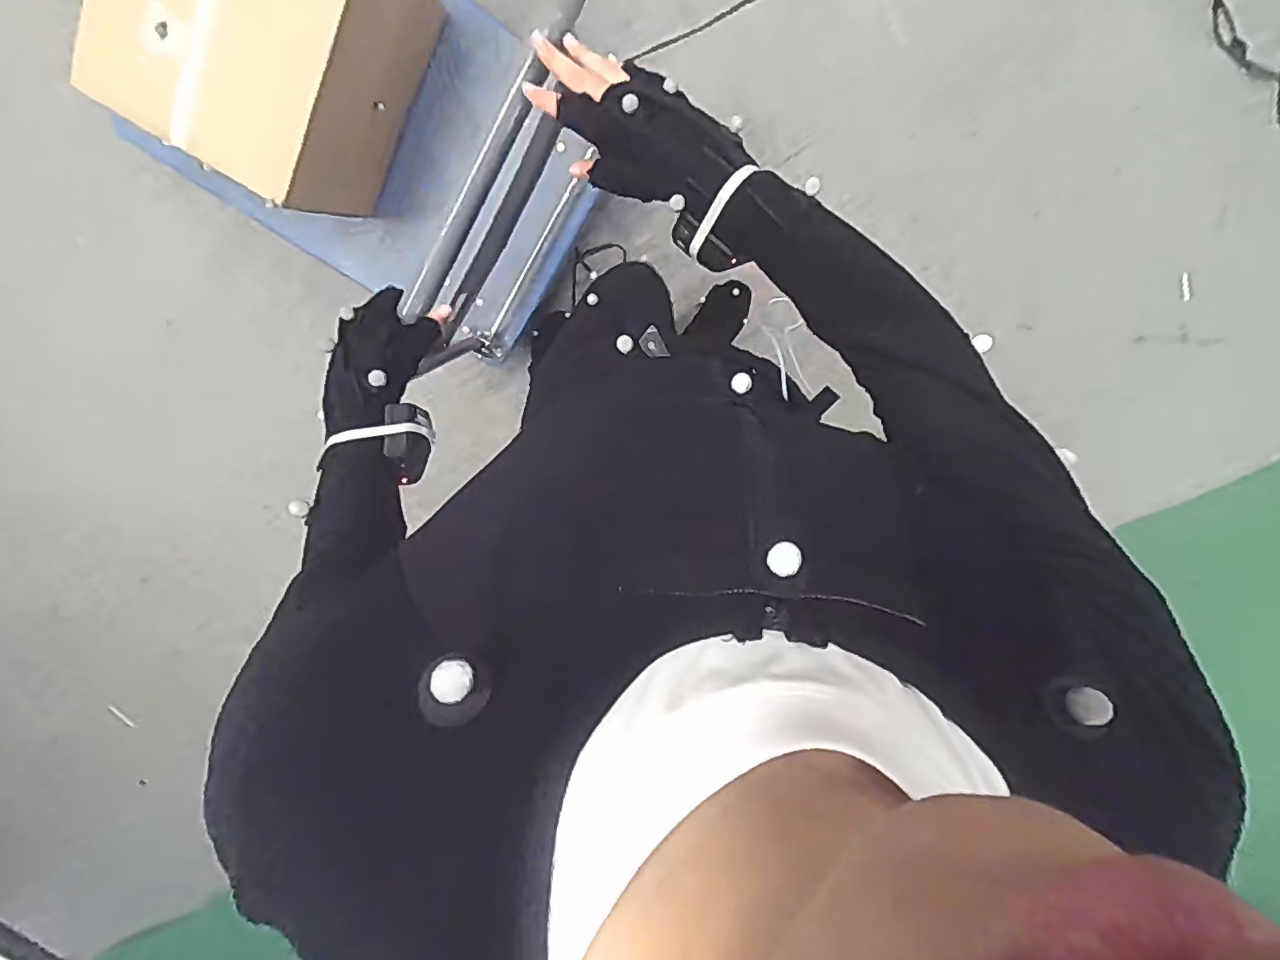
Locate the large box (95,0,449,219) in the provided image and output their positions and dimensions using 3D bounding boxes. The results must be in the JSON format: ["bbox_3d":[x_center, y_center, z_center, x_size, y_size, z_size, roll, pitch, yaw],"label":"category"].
[{"bbox_3d":[-0.579,-0.715,0.903,0.320,0.320,0.408,30,110,-11],"label":"large box"}]
